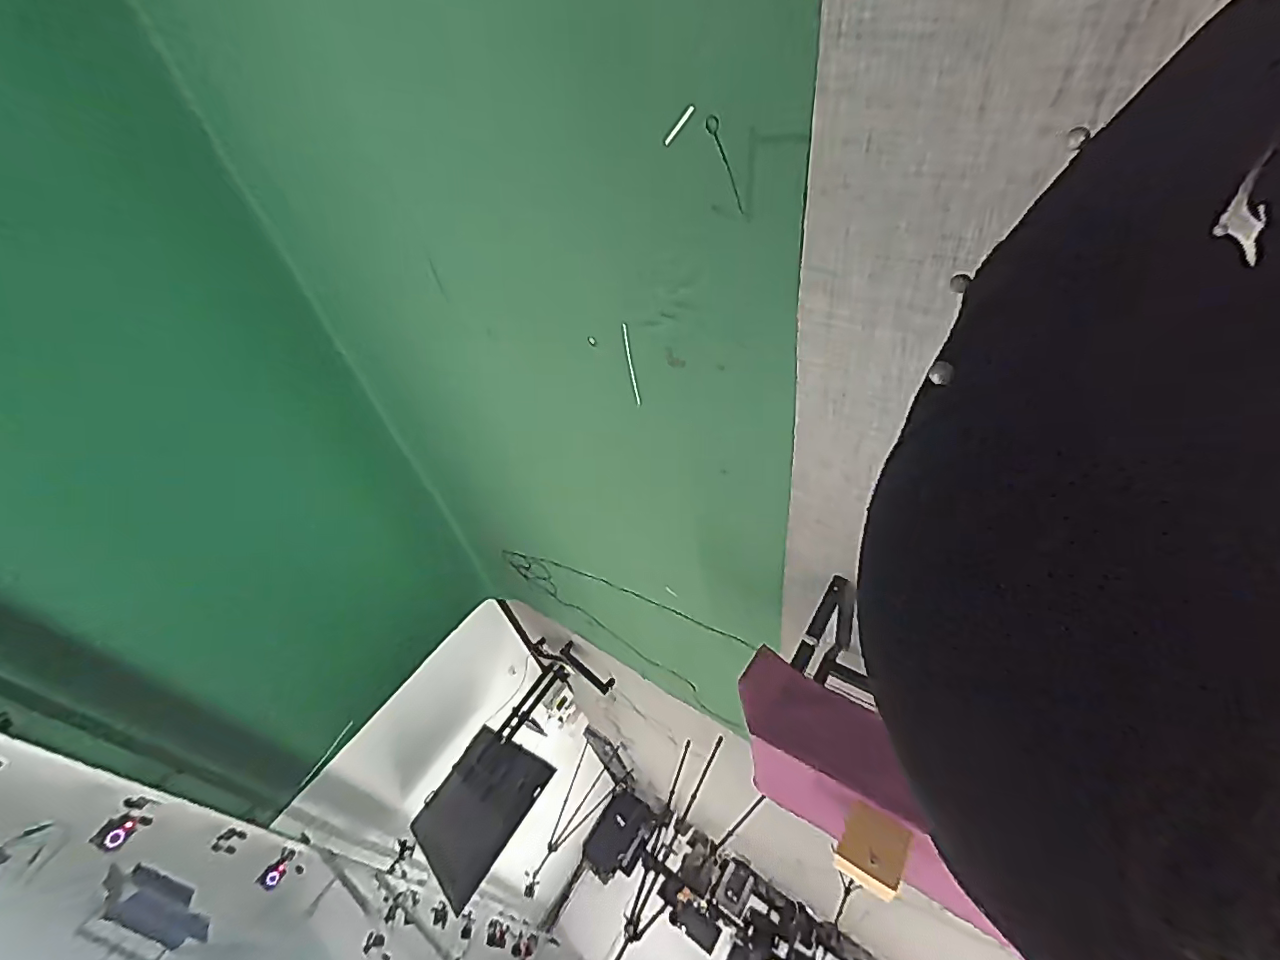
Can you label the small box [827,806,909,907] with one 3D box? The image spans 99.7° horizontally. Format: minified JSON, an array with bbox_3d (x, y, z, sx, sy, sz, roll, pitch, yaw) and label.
[{"bbox_3d":[0.677,1.112,1.605,0.179,0.176,0.168,21,143,30],"label":"small box"}]
